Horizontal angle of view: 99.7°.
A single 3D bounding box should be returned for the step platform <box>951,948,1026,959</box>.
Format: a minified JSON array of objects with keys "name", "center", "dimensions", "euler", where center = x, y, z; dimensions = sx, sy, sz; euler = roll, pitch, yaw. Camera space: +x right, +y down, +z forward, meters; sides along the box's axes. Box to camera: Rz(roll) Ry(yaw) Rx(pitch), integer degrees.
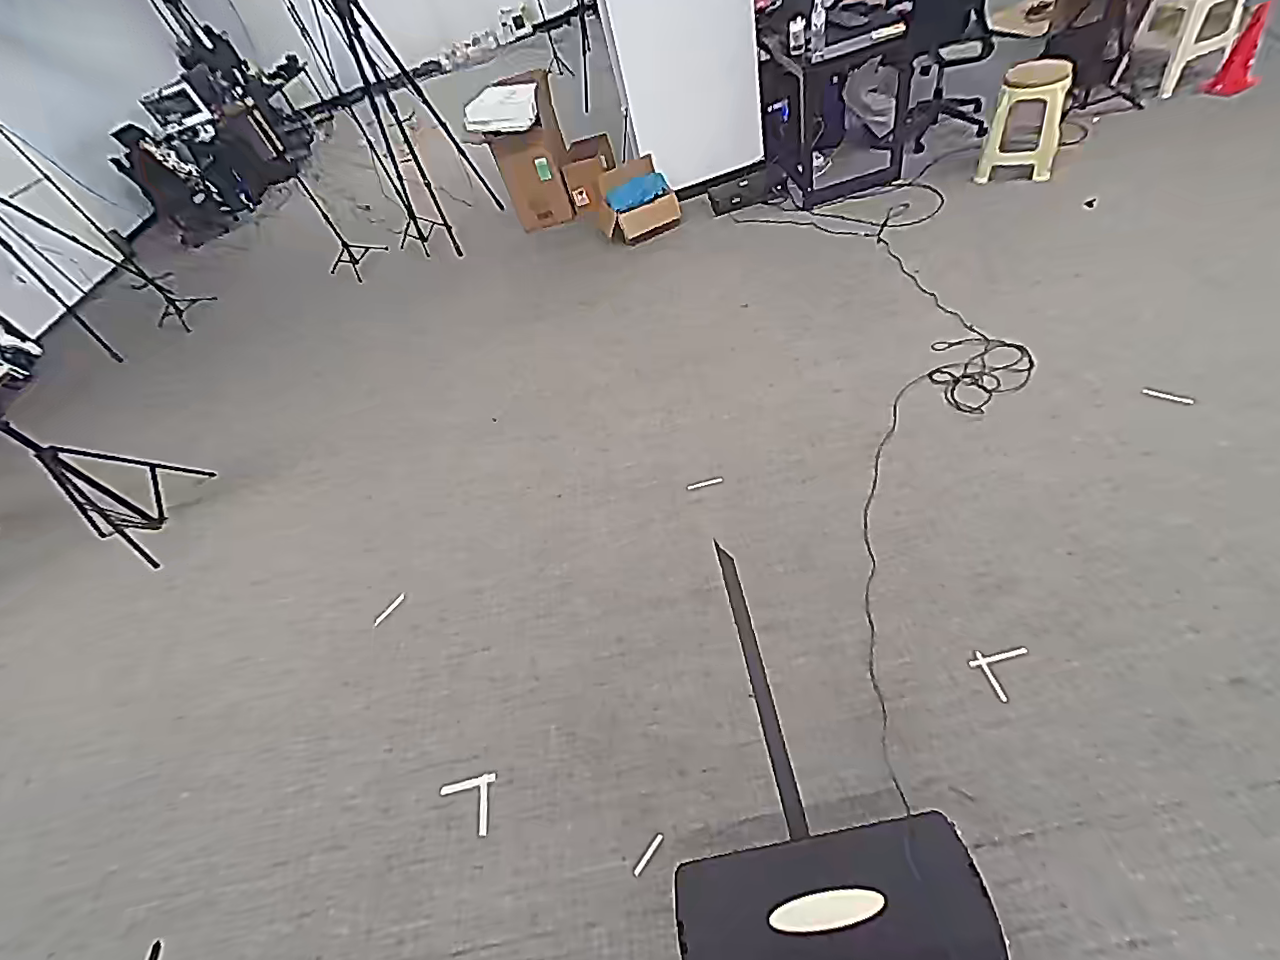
[{"name":"step platform","center":[0.452,1.109,0.996],"dimensions":[0.684,0.204,0.286],"euler":[-17,47,6]}]
